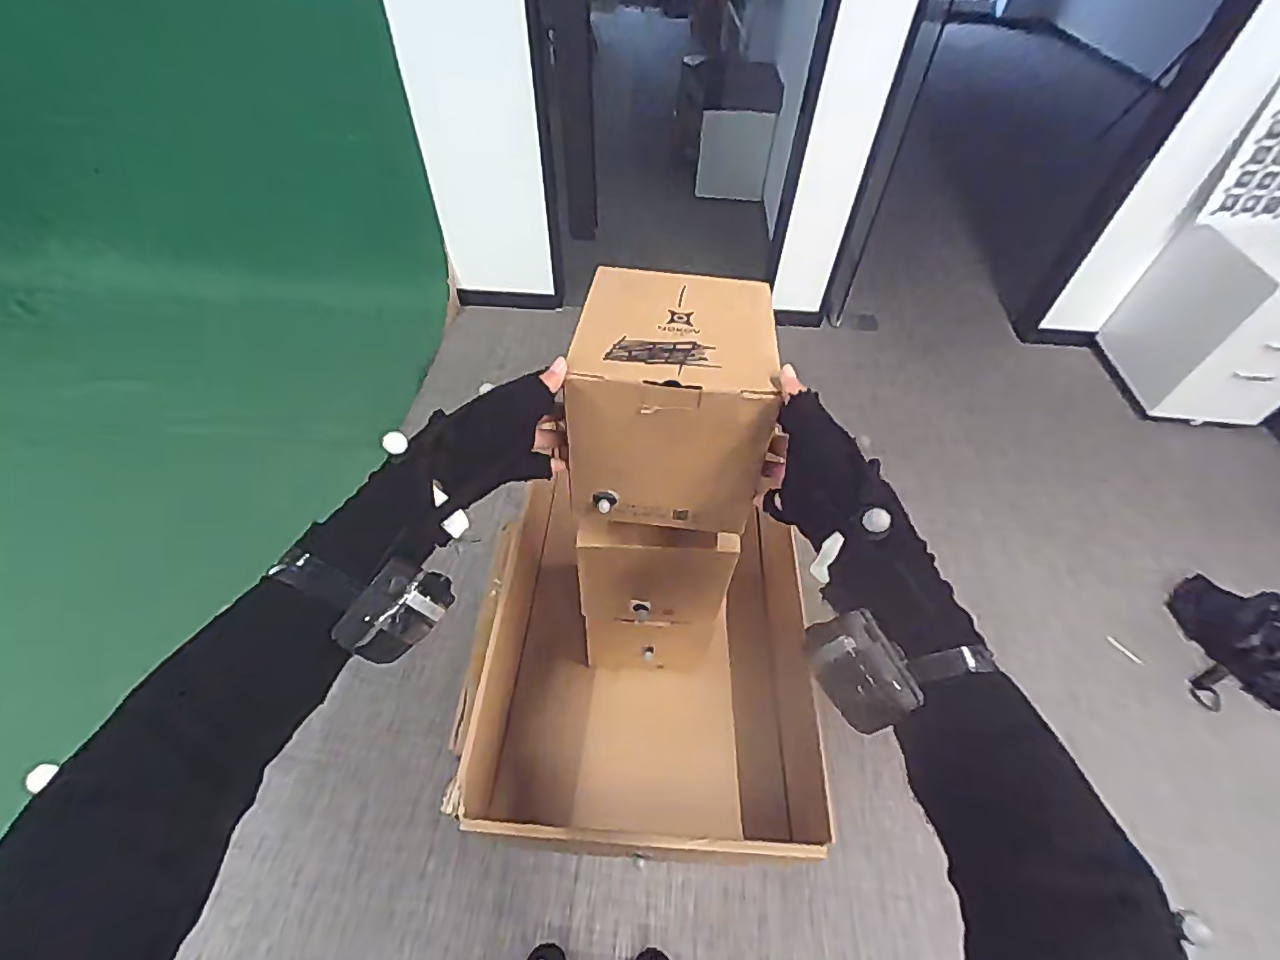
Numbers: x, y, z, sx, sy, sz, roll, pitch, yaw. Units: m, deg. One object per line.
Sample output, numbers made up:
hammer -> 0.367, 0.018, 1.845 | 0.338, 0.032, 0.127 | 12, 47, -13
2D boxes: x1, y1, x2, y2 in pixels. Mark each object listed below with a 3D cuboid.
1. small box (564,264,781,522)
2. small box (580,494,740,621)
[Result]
small box -> 0.029, -0.080, 0.514 | 0.168, 0.176, 0.179 | 6, 47, 1
small box -> 0.019, 0.052, 0.657 | 0.168, 0.176, 0.179 | 2, 51, -1
